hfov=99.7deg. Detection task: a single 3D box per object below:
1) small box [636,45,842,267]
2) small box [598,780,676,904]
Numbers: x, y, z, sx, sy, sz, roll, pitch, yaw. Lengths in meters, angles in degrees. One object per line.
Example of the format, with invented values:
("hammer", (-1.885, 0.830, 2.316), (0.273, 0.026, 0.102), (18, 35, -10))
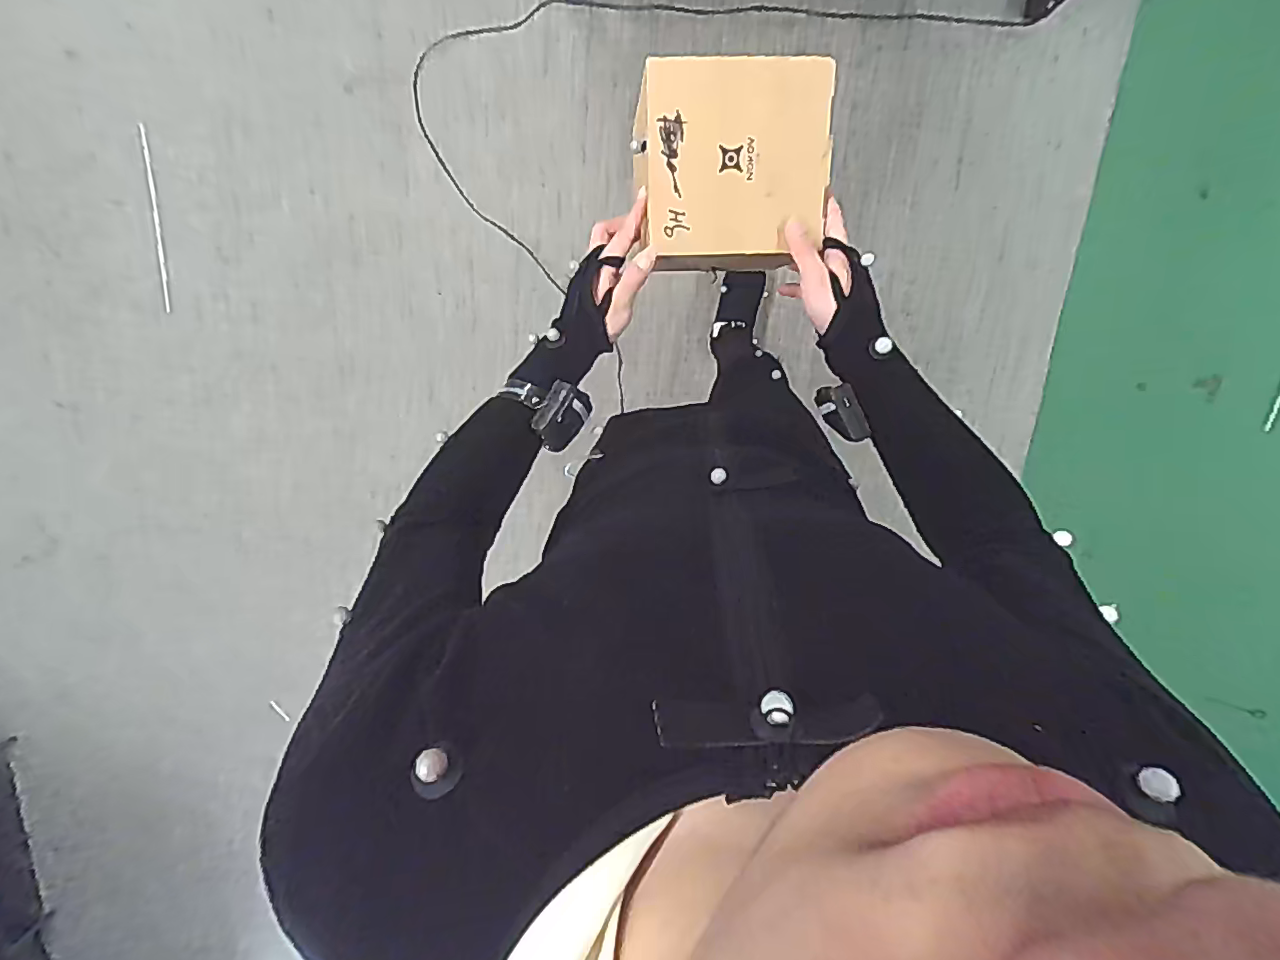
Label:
("small box", (0.090, -0.326, 0.579), (0.179, 0.176, 0.168), (-2, 105, -4))
("small box", (-0.003, 0.882, 1.328), (0.168, 0.176, 0.179), (7, 103, 1))
